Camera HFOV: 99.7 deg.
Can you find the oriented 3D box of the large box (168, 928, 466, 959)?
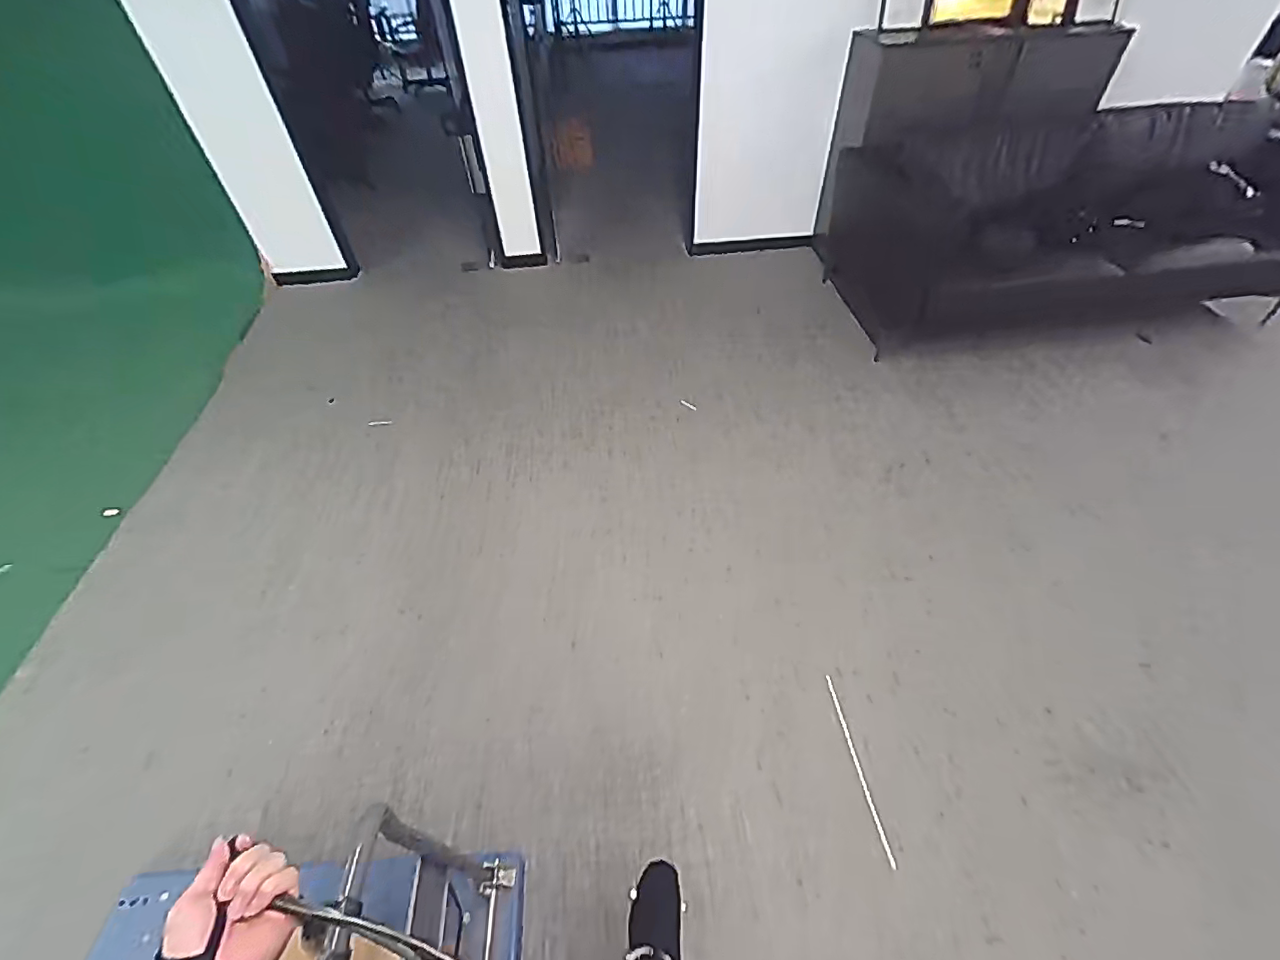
[{"bbox_3d":[-0.548,0.944,0.881,0.408,0.320,0.320,1,47,3],"label":"large box"}]
